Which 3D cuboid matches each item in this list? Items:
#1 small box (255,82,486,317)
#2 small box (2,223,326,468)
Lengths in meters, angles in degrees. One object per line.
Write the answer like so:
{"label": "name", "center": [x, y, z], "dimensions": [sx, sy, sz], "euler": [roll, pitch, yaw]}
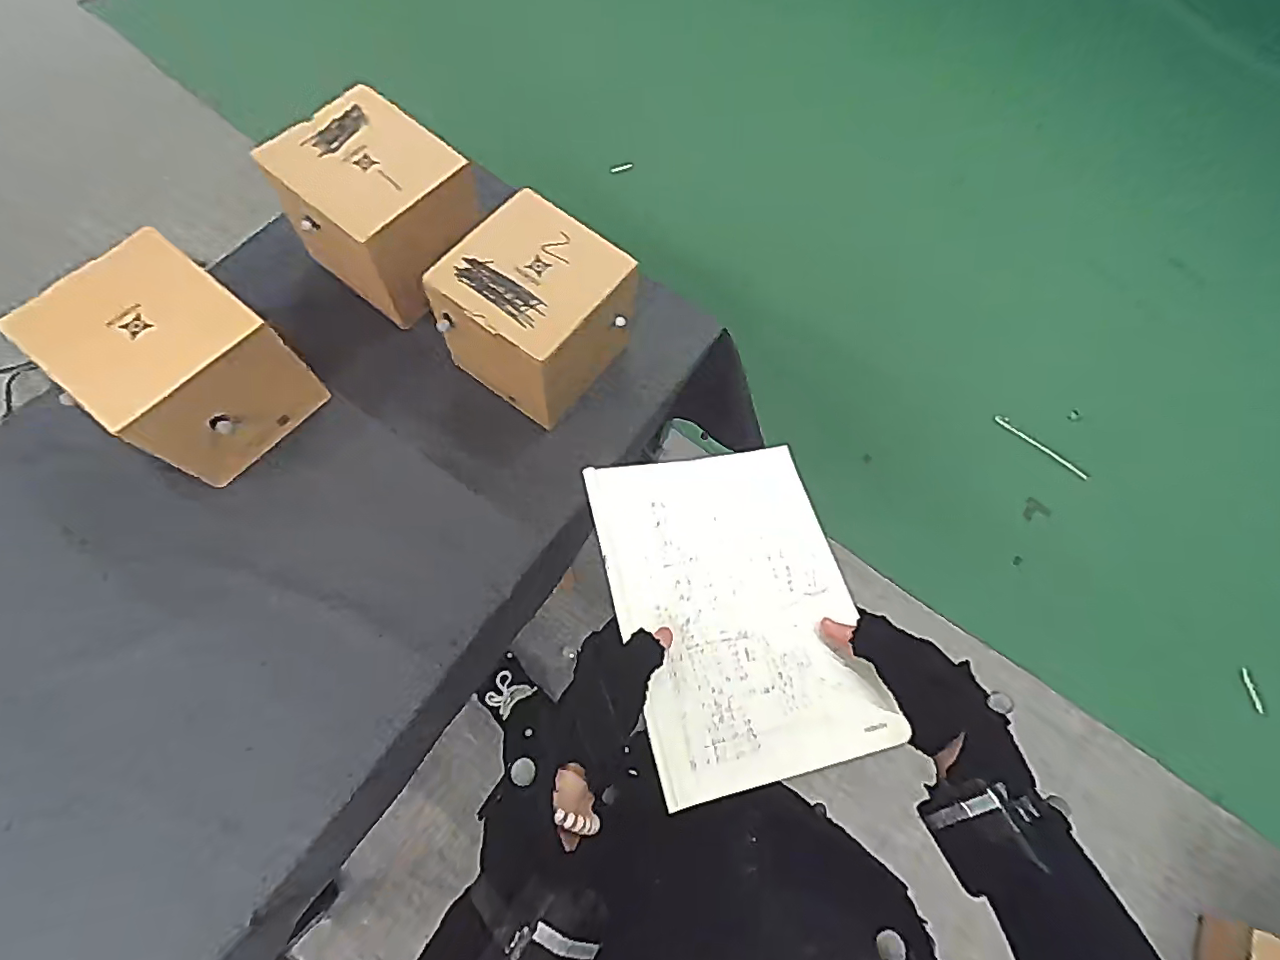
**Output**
{"label": "small box", "center": [-0.325, -0.347, 0.693], "dimensions": [0.179, 0.176, 0.168], "euler": [39, 72, 6]}
{"label": "small box", "center": [-0.499, -0.133, 0.603], "dimensions": [0.179, 0.176, 0.168], "euler": [38, 72, 7]}
